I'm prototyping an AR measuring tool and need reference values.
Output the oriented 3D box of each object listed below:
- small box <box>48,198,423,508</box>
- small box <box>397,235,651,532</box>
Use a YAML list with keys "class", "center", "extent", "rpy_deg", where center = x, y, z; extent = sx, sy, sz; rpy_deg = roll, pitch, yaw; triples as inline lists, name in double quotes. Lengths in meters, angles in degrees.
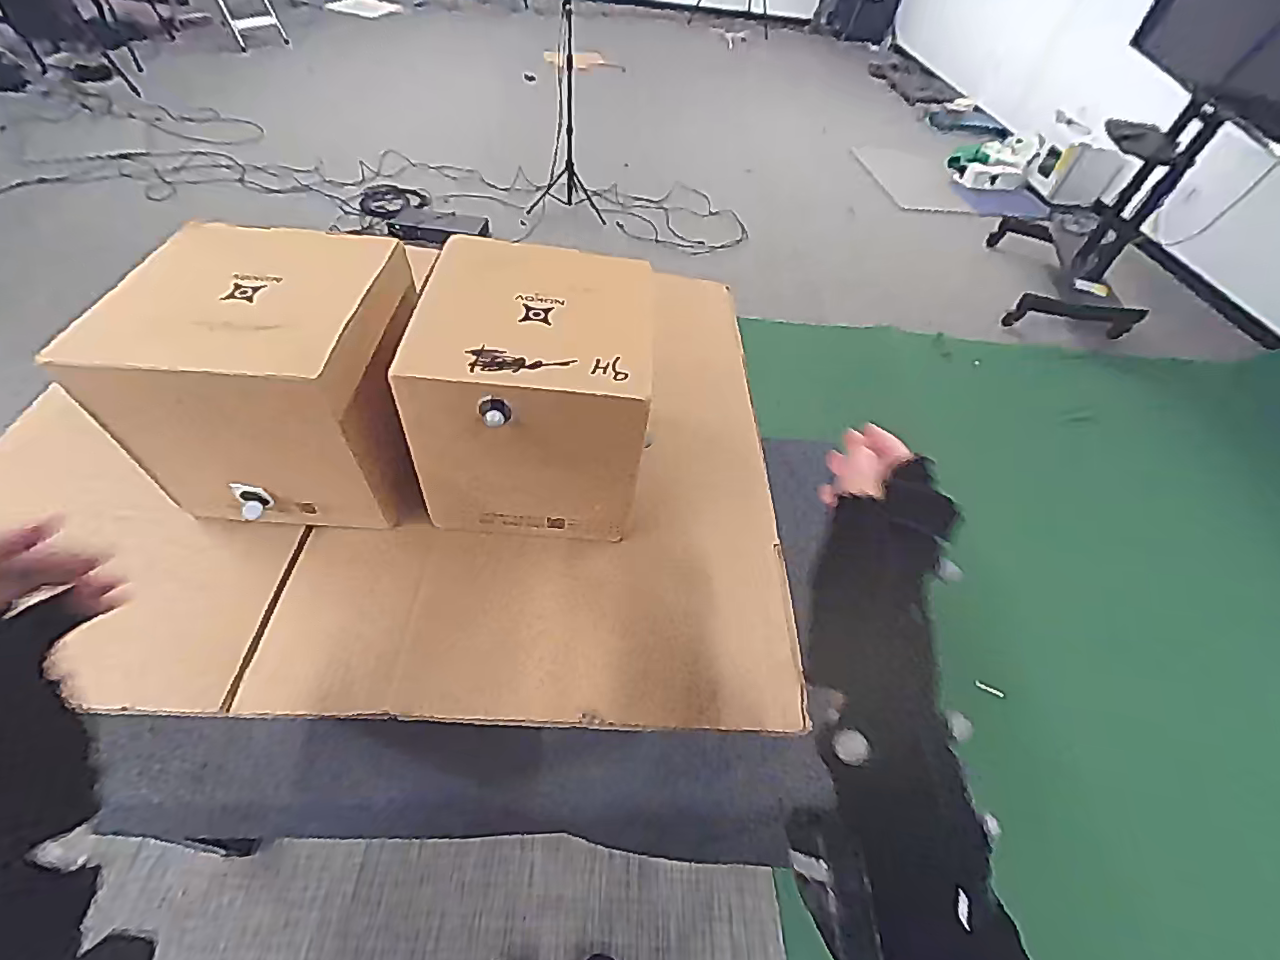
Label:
- class: "small box"
  center: [-0.278, -0.098, 0.439]
  extent: [0.168, 0.176, 0.179]
  rpy_deg: [2, 52, -3]
- class: "small box"
  center: [-0.084, -0.079, 0.464]
  extent: [0.168, 0.176, 0.179]
  rpy_deg: [5, 49, -5]
